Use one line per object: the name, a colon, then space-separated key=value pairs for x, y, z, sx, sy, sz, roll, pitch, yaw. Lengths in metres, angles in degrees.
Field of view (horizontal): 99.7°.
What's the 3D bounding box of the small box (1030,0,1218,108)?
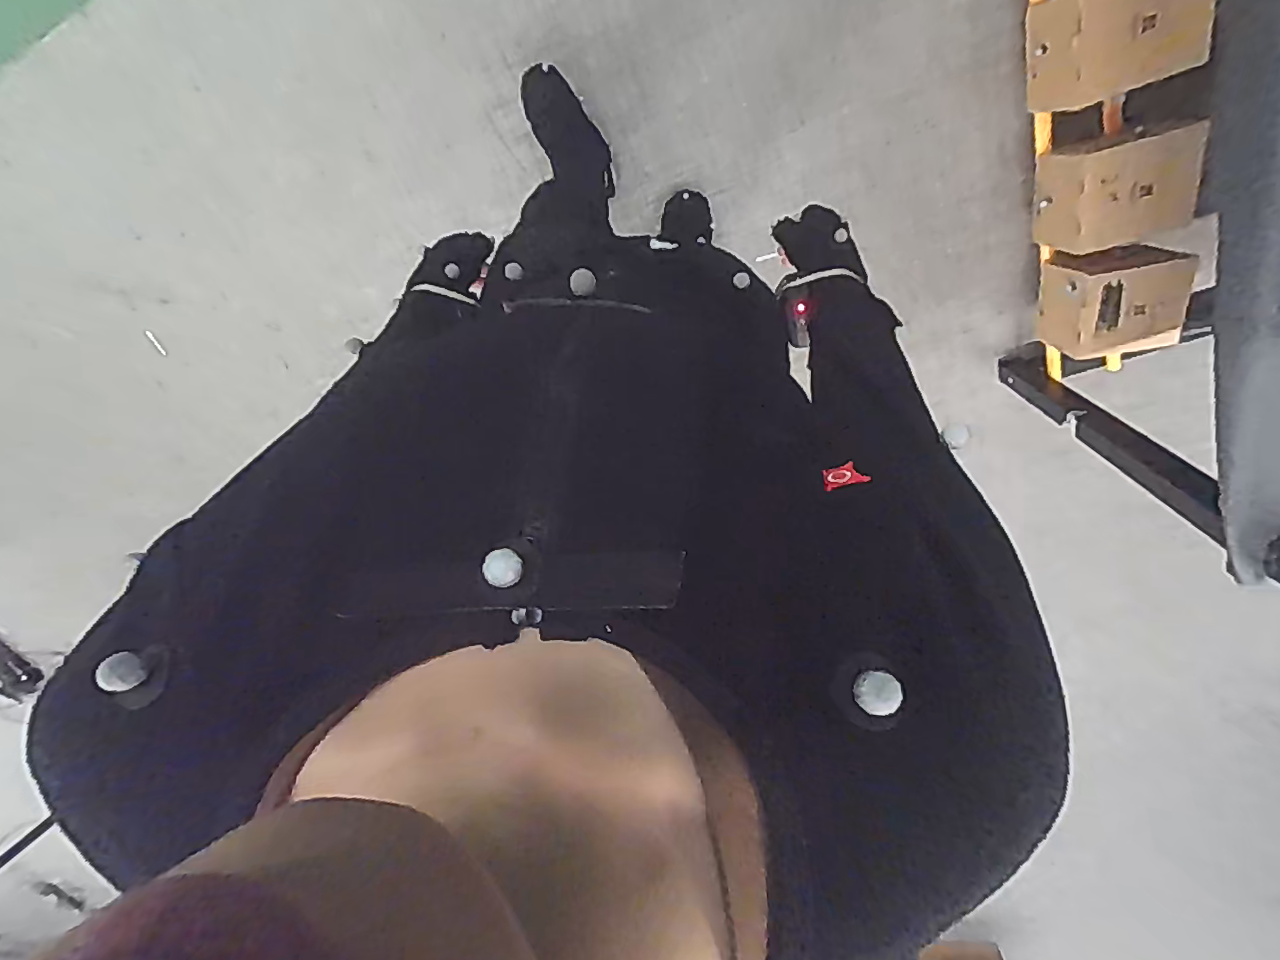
small box: x=0.771 y=-0.730 z=0.875 sx=0.179 sy=0.176 sz=0.168 roll=-14 pitch=119 yaw=17
